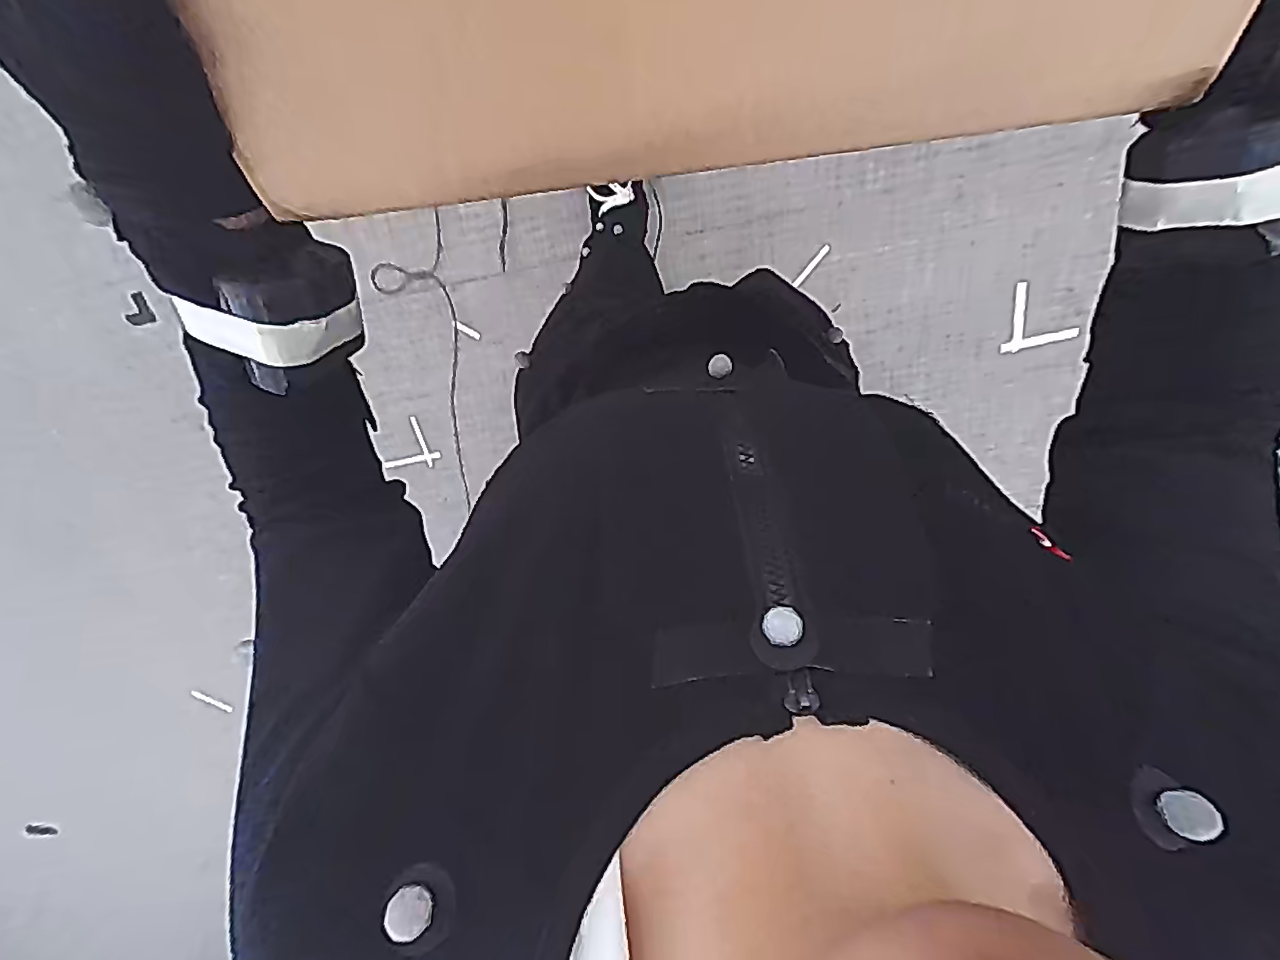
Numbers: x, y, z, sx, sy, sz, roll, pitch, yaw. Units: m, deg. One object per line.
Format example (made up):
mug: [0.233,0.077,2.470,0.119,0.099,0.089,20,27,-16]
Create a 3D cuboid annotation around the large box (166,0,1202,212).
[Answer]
large box: [0.009,-0.359,0.227,0.408,0.320,0.320,-7,138,1]
